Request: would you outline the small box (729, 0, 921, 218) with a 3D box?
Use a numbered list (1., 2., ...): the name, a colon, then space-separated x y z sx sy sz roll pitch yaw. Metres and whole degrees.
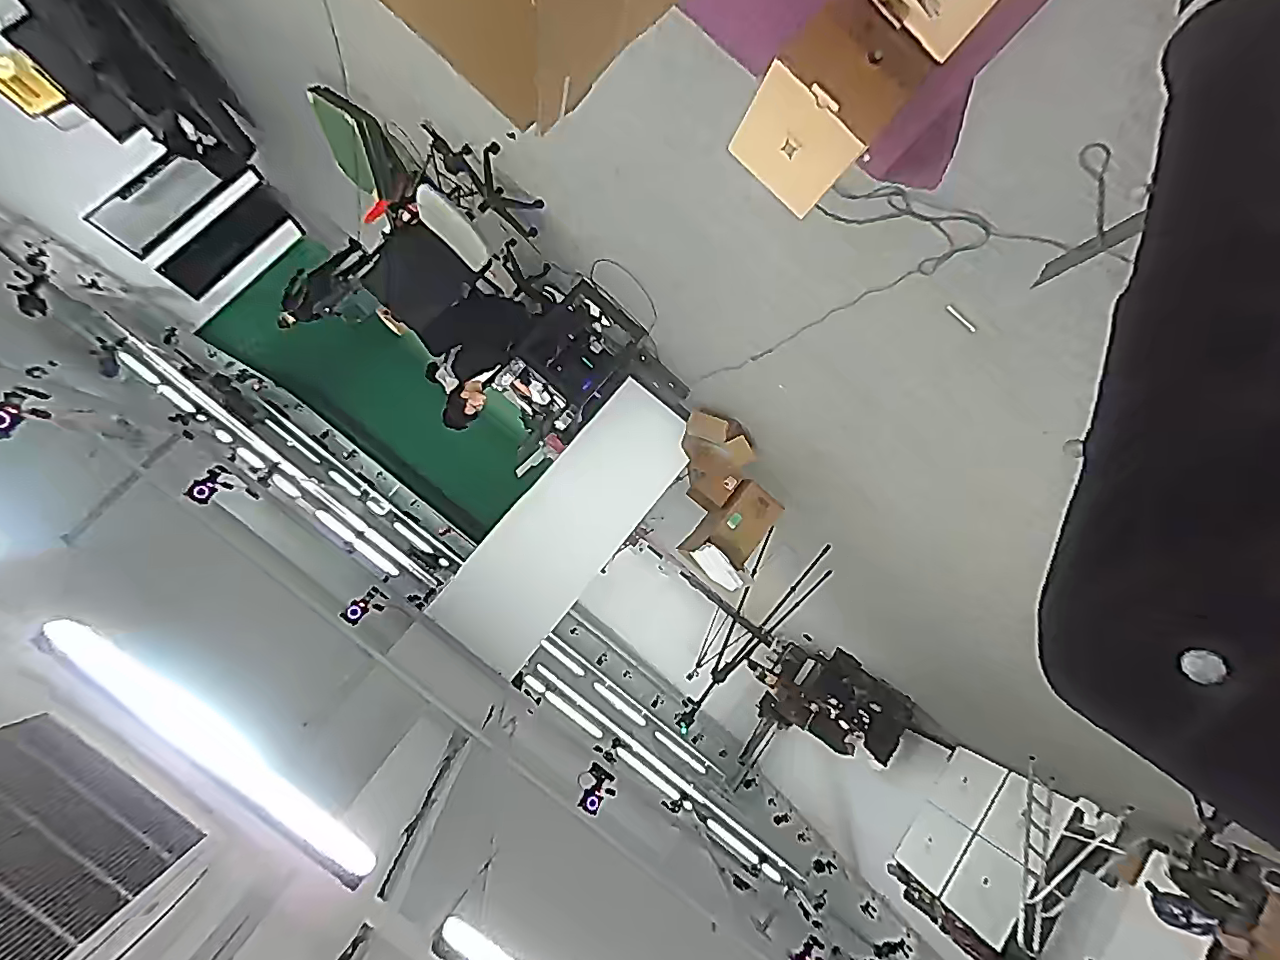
1. small box: 0.269 -0.543 0.800 0.168 0.176 0.179 41 167 -5
